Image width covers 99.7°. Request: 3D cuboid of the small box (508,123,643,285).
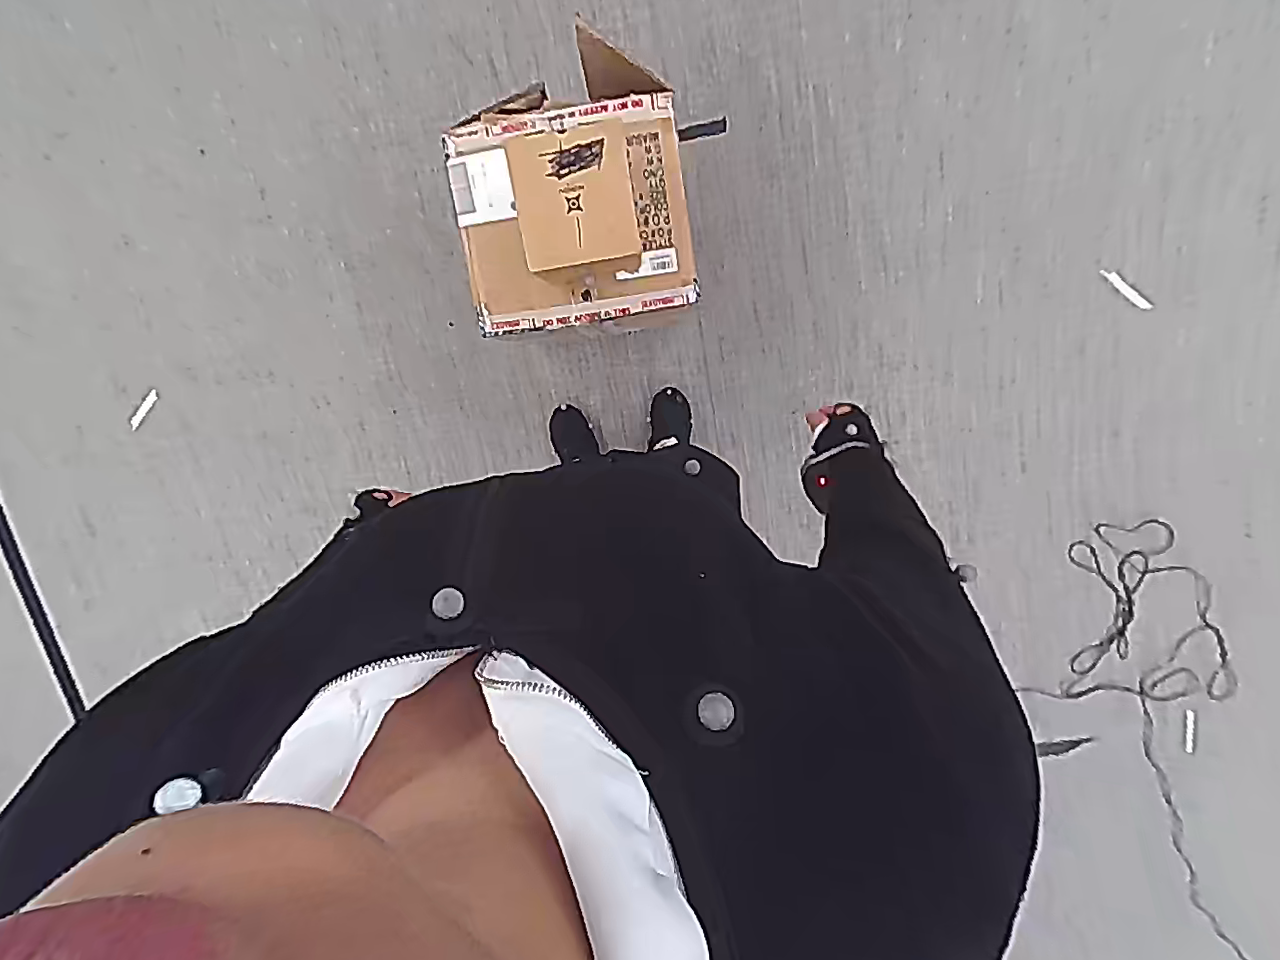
[{"bbox_3d":[-0.090,-0.410,0.833,0.168,0.176,0.179,-9,105,2],"label":"small box"}]
